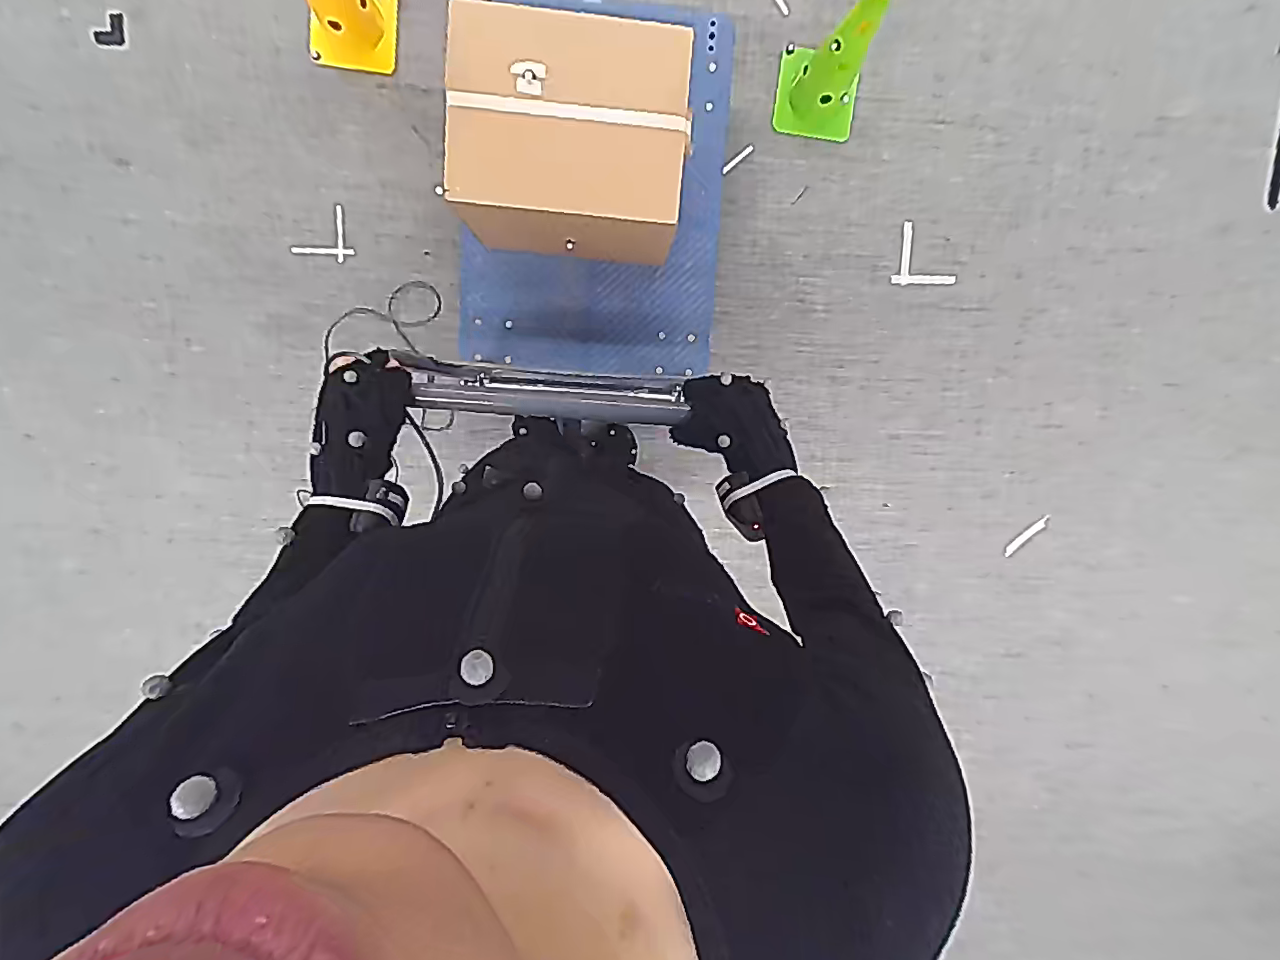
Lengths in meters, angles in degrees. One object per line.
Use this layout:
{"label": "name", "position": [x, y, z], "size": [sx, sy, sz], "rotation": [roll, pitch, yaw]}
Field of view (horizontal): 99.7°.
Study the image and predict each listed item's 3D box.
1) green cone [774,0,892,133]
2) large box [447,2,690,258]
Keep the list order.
{"label": "green cone", "position": [0.453, -0.960, 1.182], "size": [0.202, 0.368, 0.200], "rotation": [6, 98, -5]}
{"label": "large box", "position": [-0.126, -0.640, 1.057], "size": [0.408, 0.320, 0.320], "rotation": [5, 98, -3]}
